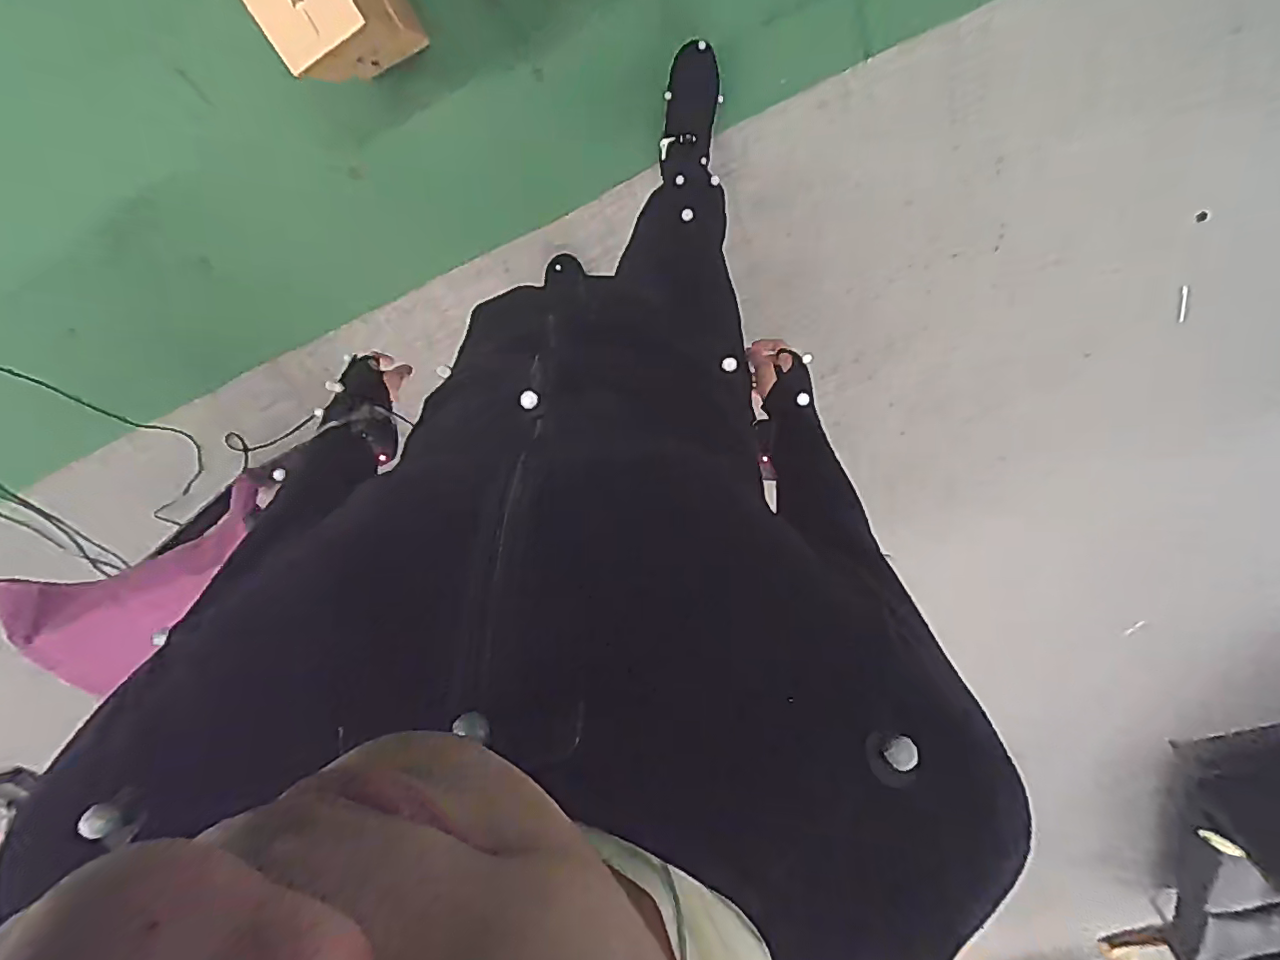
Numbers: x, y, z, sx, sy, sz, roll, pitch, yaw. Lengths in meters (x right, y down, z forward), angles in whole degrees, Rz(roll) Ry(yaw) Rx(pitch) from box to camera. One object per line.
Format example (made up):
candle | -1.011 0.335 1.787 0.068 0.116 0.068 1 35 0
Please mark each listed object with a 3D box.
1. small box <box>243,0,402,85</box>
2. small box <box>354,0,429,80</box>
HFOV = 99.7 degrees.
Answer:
small box | -0.560 -0.830 0.945 0.168 0.176 0.179 -22 121 15
small box | -0.554 -0.928 1.077 0.168 0.176 0.179 -19 121 13
